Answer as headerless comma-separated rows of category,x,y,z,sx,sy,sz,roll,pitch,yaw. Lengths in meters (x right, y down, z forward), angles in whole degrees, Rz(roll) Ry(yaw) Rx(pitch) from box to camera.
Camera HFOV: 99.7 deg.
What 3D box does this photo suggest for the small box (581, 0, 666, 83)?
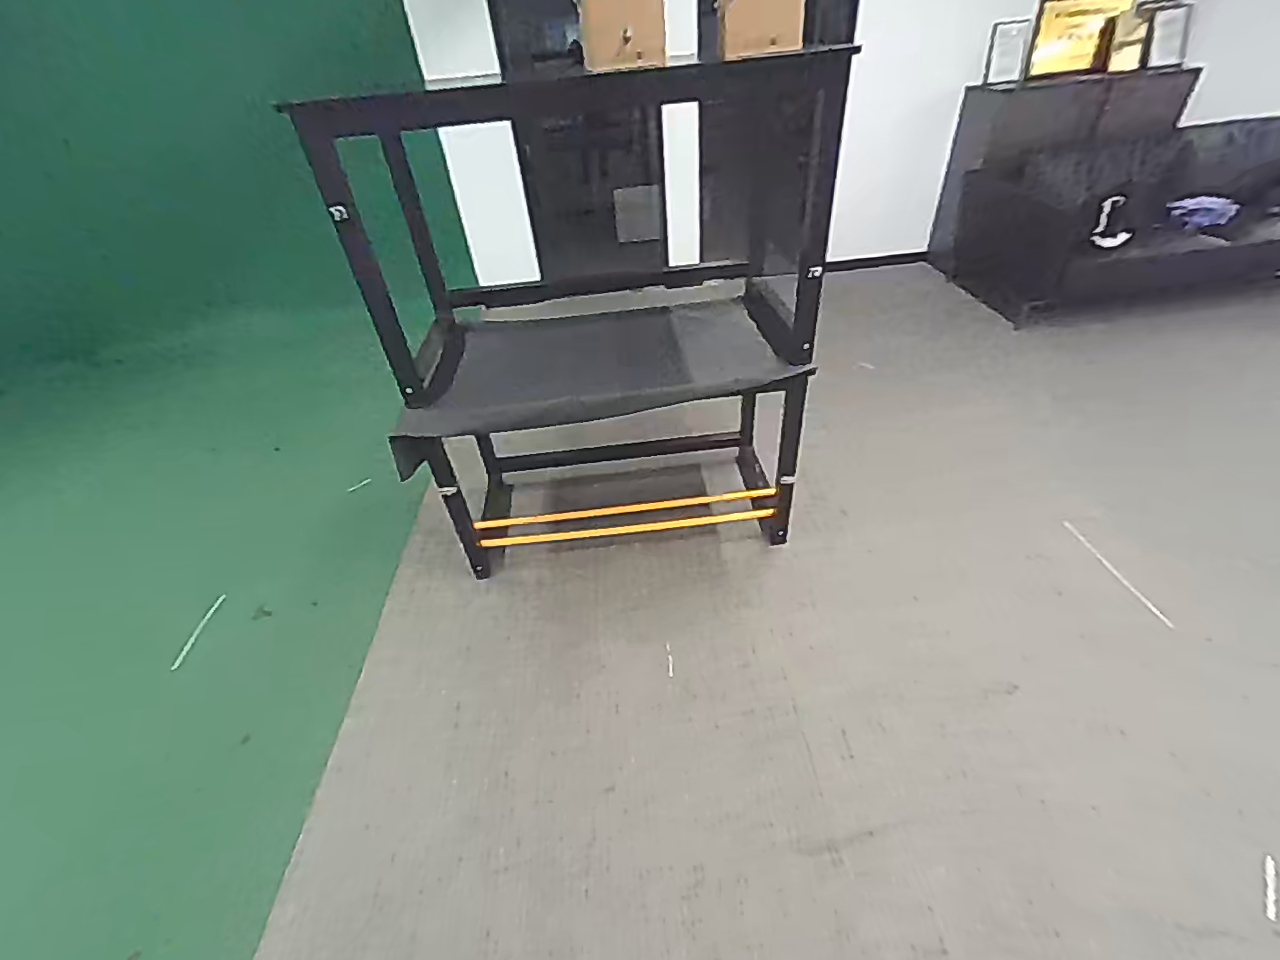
small box,-0.039,-0.999,1.208,0.168,0.176,0.179,-10,38,-4
